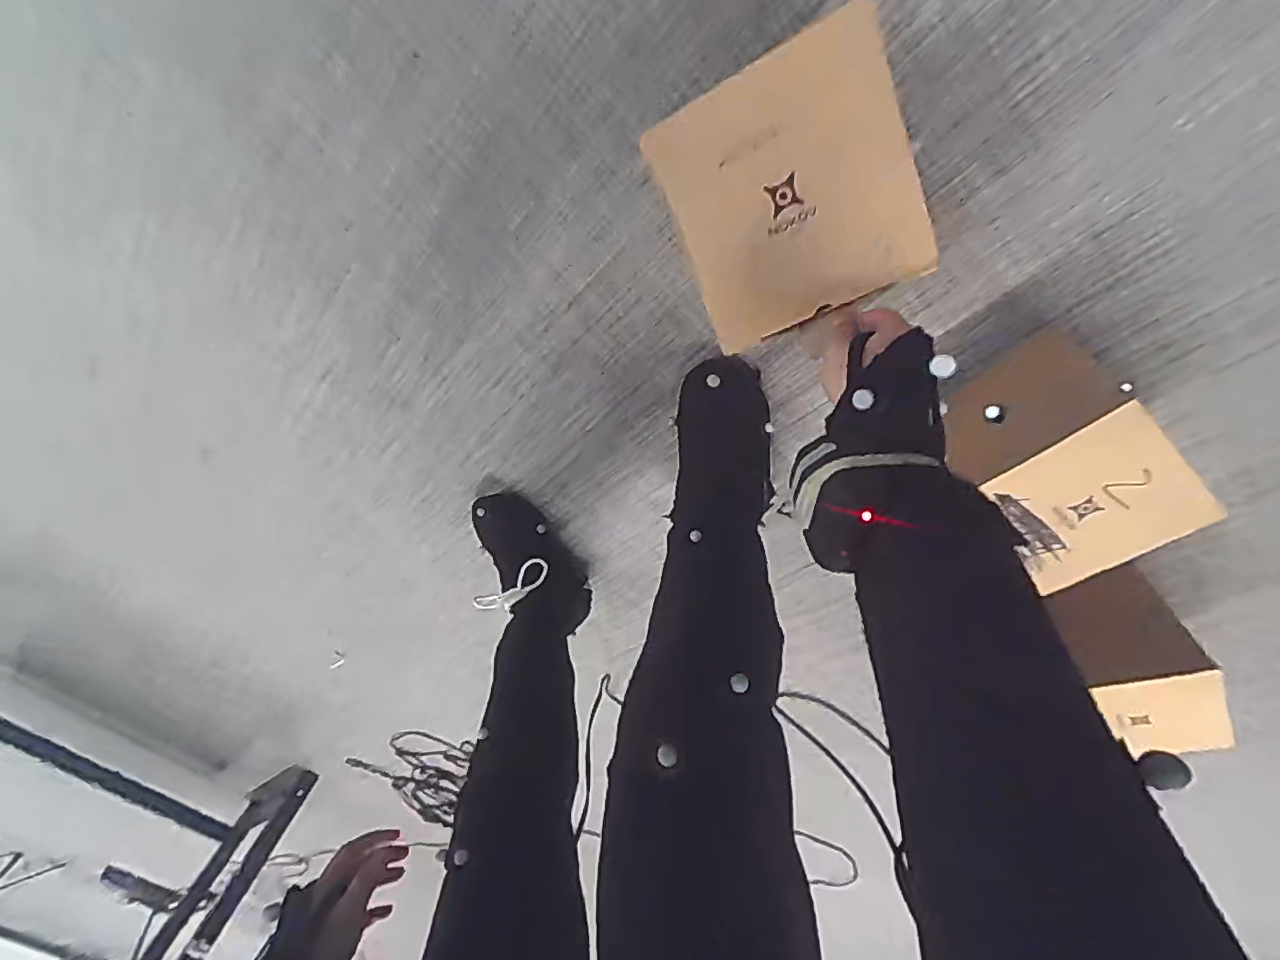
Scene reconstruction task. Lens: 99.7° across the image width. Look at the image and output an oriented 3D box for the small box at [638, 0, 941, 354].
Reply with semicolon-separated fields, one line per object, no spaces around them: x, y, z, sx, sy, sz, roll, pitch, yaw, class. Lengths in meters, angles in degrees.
0.125;-0.230;0.451;0.168;0.176;0.179;-20;106;23;small box
